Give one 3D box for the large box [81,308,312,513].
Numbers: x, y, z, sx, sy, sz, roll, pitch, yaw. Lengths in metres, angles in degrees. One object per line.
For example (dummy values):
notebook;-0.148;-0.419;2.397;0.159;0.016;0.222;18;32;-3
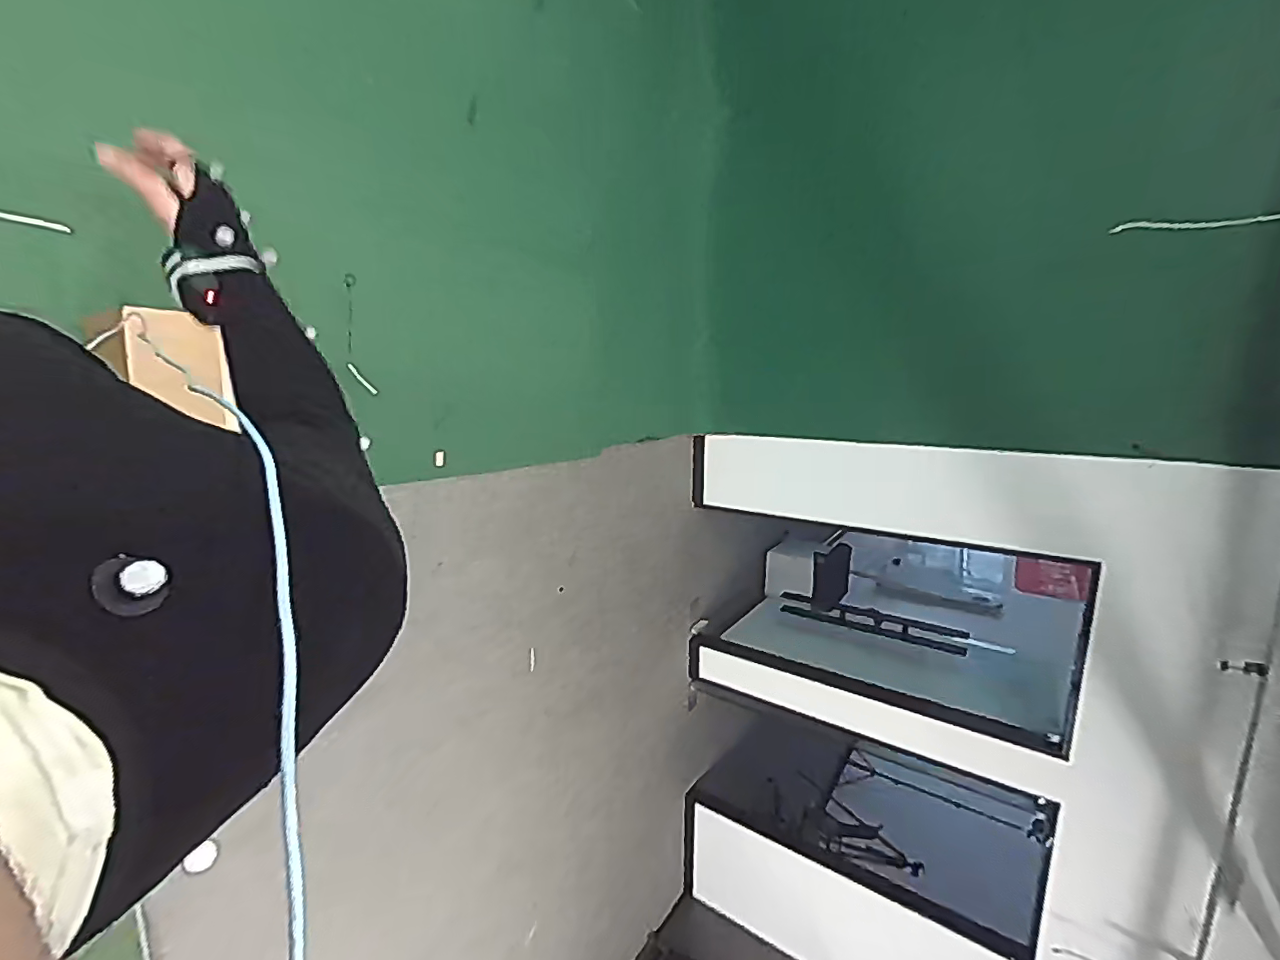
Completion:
large box;-1.006;-0.165;1.244;0.320;0.320;0.408;-12;106;-54
